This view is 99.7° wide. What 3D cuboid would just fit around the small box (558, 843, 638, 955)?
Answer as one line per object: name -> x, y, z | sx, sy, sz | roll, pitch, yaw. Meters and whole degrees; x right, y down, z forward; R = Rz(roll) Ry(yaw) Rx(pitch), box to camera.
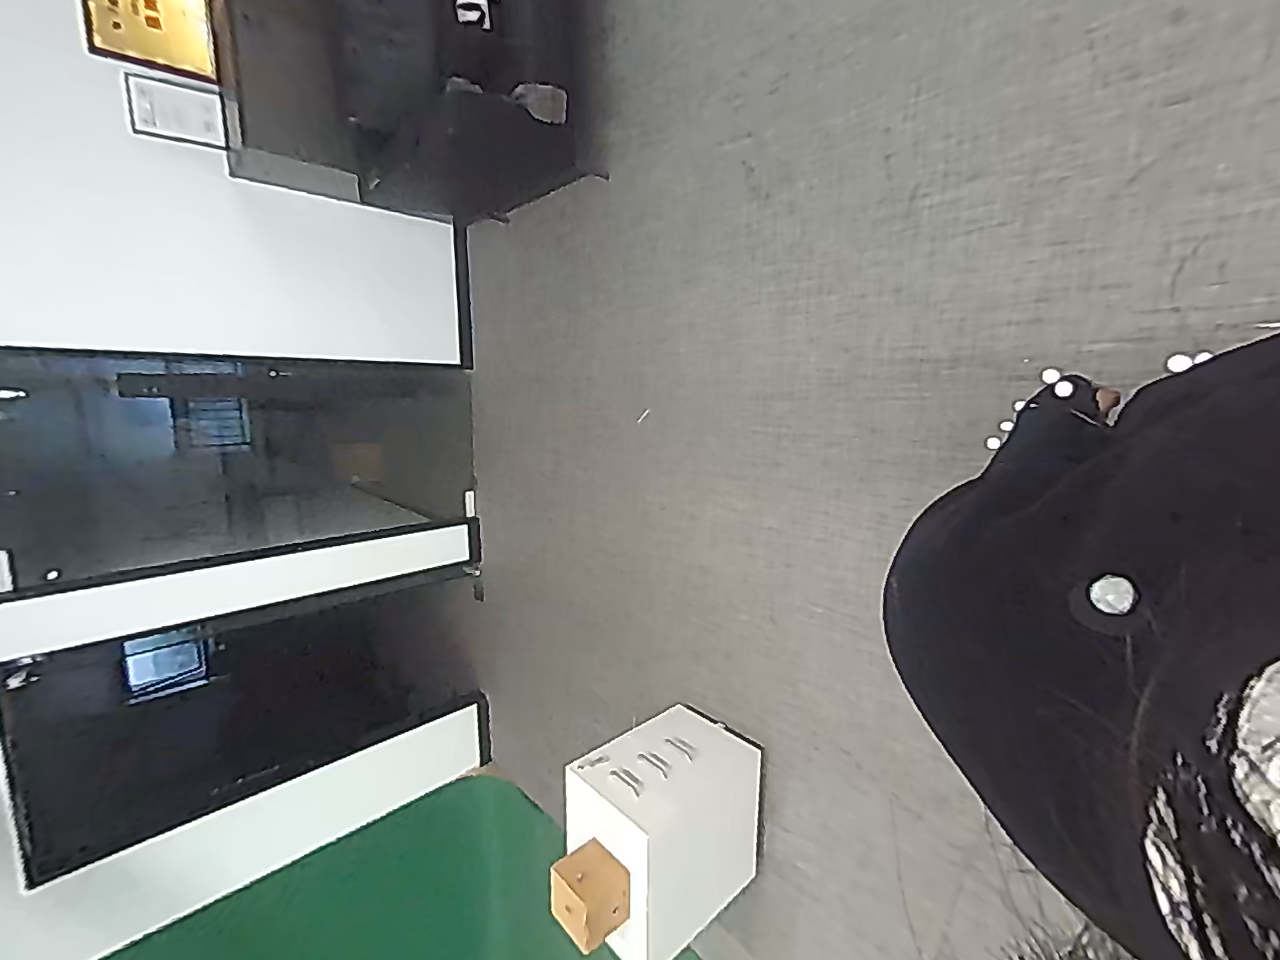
small box -> -0.126, 1.224, 1.602 | 0.179, 0.176, 0.168 | 9, 103, 47
